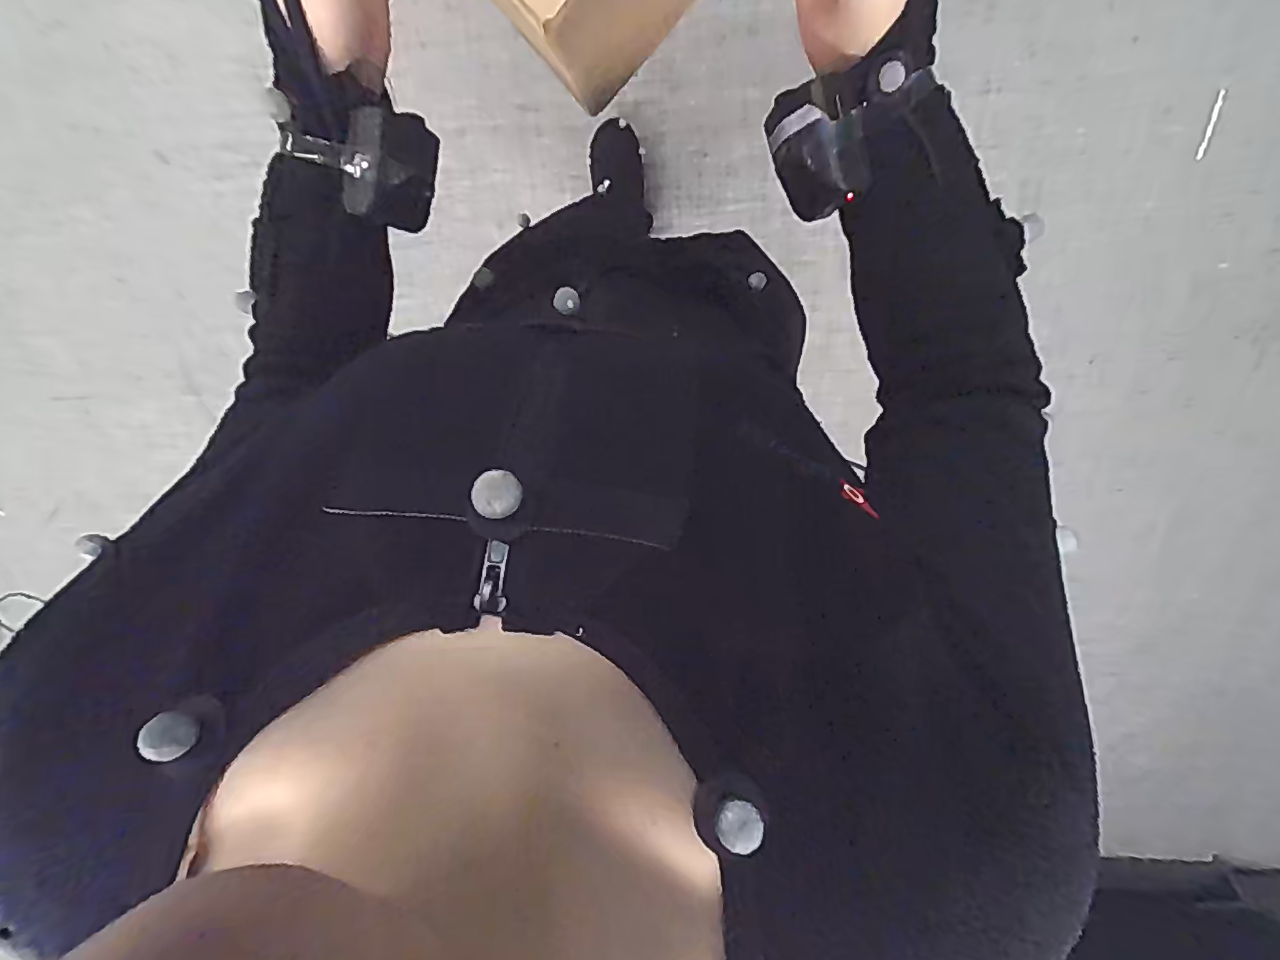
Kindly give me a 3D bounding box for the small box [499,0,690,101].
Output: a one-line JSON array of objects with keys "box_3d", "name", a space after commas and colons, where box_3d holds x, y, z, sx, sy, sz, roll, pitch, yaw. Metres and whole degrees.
[{"box_3d": [-0.028, -0.318, 0.242, 0.179, 0.176, 0.168, -41, 107, 19], "name": "small box"}]
